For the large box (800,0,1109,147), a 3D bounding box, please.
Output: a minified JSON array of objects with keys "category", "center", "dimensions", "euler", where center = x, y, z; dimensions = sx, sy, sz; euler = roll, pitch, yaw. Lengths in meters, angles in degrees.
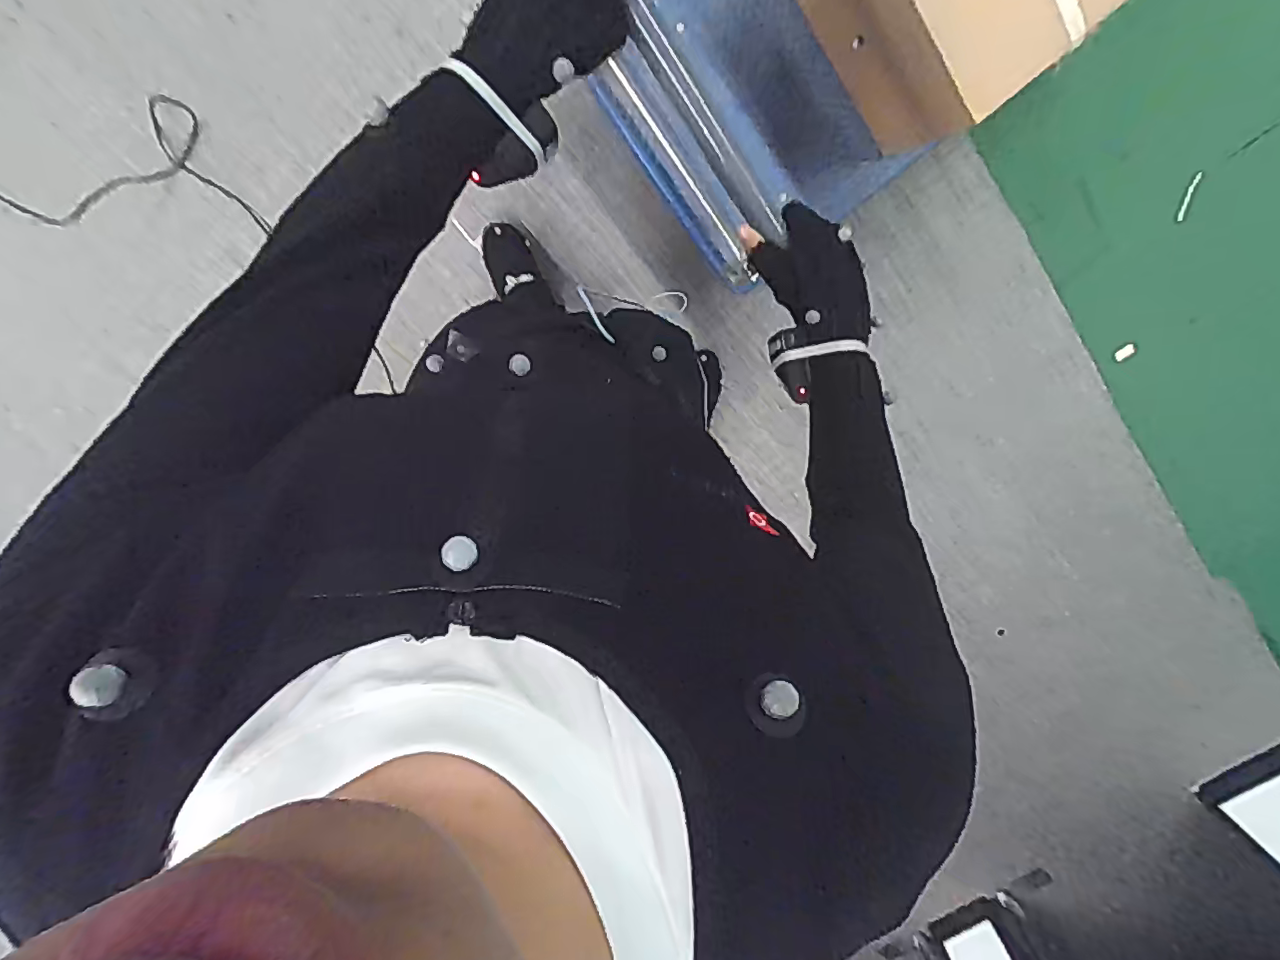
[{"category":"large box","center":[0.482,-0.828,0.846],"dimensions":[0.320,0.320,0.408],"euler":[-39,108,13]}]
